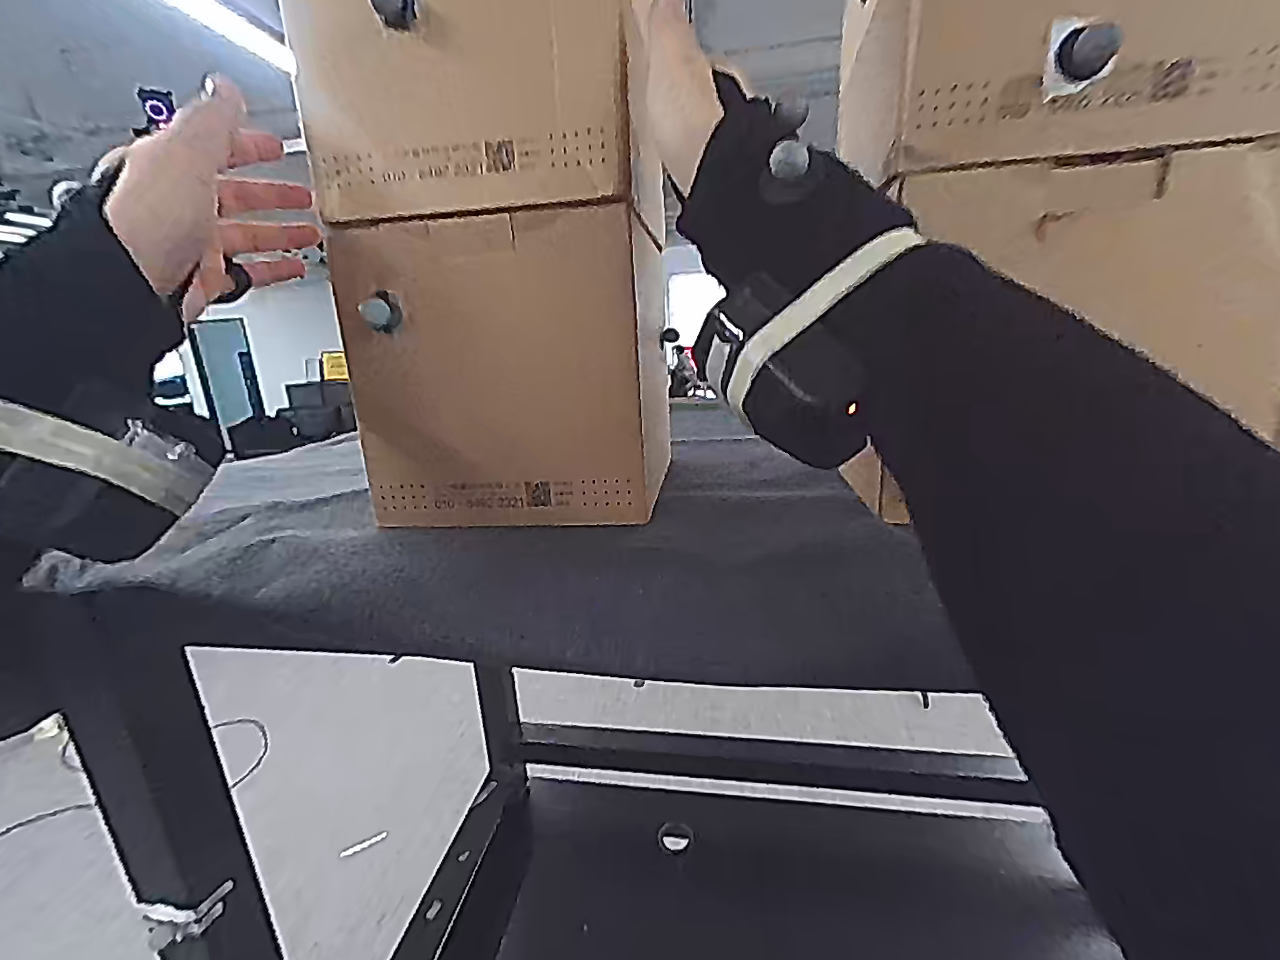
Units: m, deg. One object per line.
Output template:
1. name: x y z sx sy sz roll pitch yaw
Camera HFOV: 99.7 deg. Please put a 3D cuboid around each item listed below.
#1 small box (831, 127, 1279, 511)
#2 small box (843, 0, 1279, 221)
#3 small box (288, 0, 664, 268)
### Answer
1. small box: 0.215 -0.082 0.325 0.168 0.176 0.179 0 13 10
2. small box: 0.209 -0.240 0.287 0.168 0.176 0.179 -1 15 11
3. small box: -0.077 -0.235 0.327 0.168 0.176 0.179 -1 14 9
